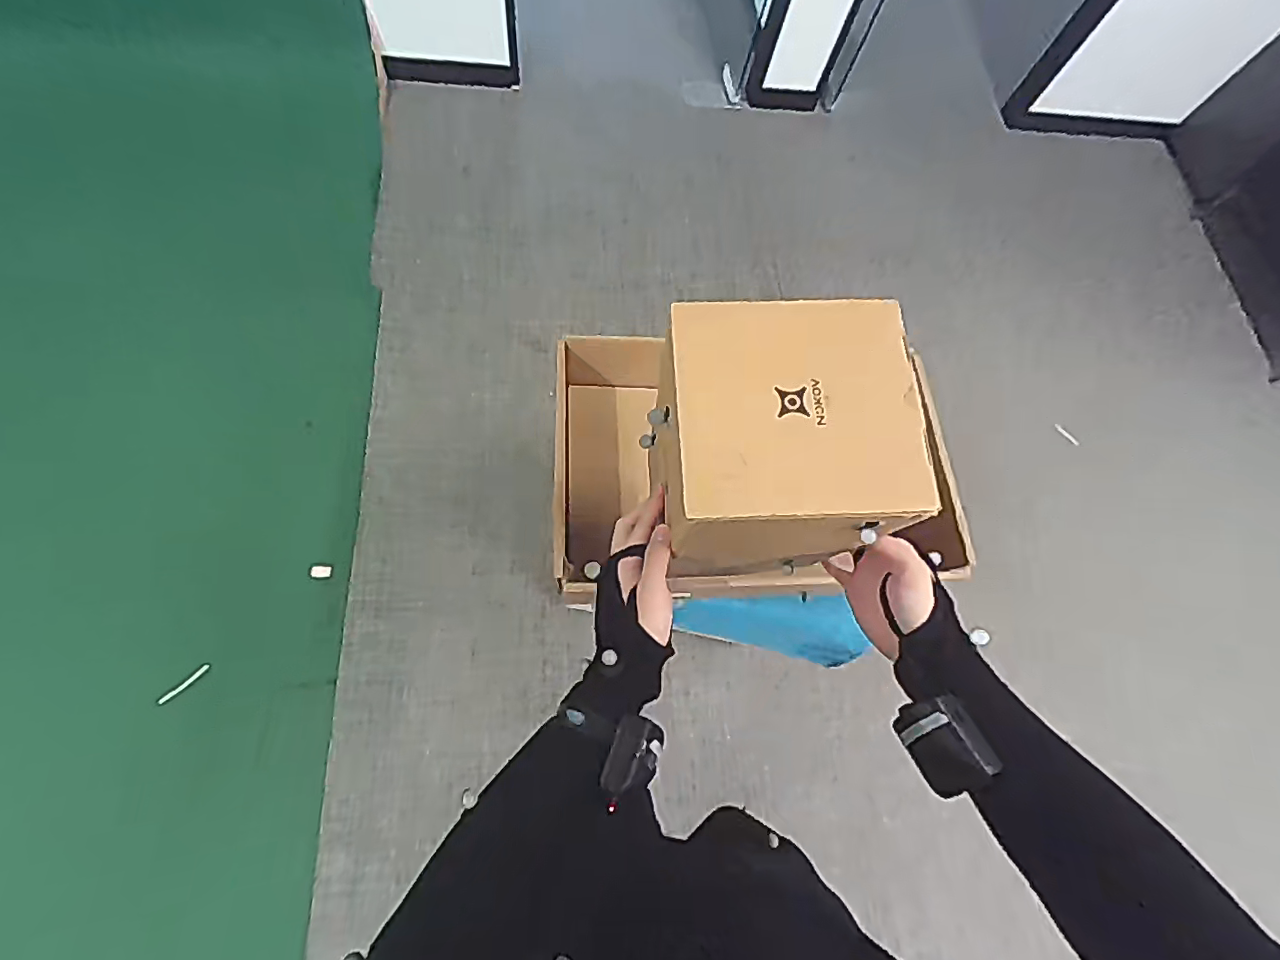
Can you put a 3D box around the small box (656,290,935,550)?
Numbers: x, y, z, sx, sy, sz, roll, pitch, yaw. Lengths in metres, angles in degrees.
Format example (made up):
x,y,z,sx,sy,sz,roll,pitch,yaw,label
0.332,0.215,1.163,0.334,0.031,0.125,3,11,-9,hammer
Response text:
x,y,z,sx,sy,sz,roll,pitch,yaw,label
0.104,-0.038,0.455,0.179,0.176,0.168,-2,73,-3,small box
